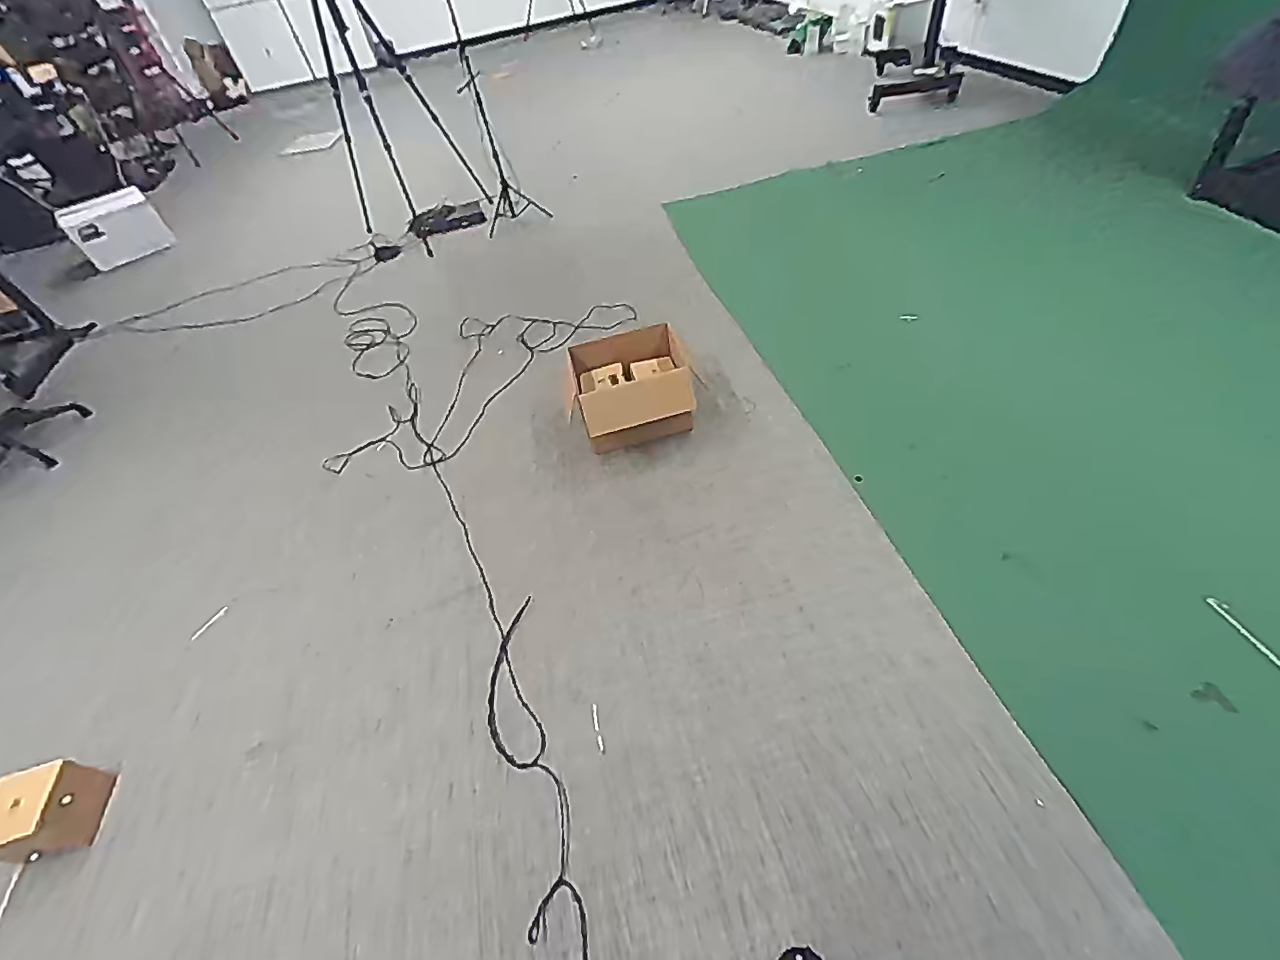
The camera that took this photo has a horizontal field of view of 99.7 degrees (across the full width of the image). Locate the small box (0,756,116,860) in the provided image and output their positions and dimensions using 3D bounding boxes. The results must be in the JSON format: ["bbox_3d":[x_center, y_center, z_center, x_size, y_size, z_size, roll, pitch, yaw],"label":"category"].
[{"bbox_3d":[-1.522,0.848,1.393,0.168,0.176,0.179,-16,50,-5],"label":"small box"}]
